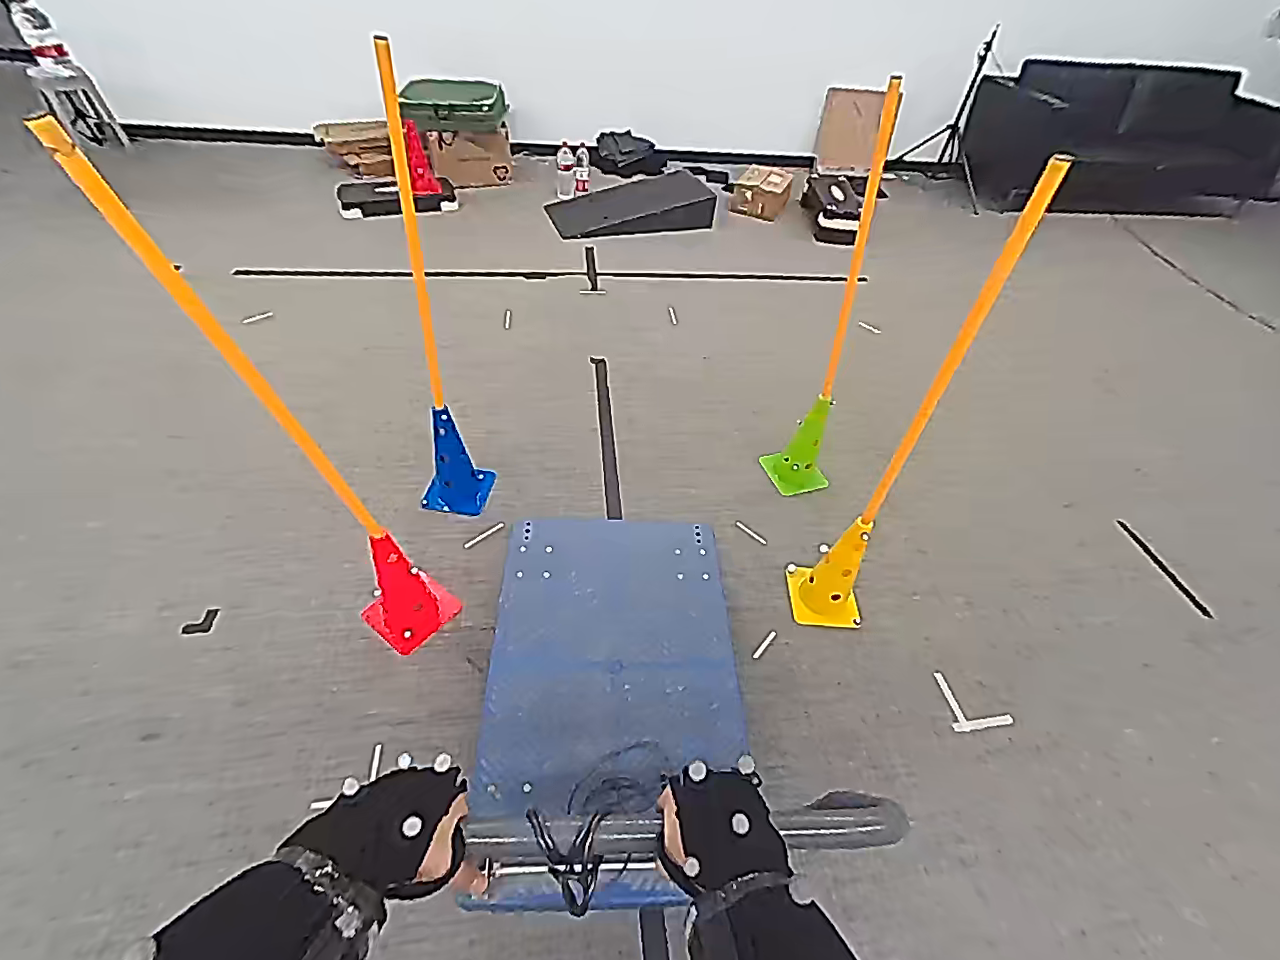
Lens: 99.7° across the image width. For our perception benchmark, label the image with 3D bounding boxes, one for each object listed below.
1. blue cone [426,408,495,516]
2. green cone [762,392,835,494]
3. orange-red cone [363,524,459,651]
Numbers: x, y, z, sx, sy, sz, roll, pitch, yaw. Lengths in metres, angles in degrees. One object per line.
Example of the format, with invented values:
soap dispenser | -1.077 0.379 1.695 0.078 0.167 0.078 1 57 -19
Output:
blue cone | -0.582 -0.076 1.680 0.193 0.380 0.192 9 47 2
green cone | 0.584 -0.150 1.857 0.200 0.368 0.202 -12 50 -17
orange-red cone | -0.610 0.234 1.364 0.198 0.360 0.199 33 51 22
